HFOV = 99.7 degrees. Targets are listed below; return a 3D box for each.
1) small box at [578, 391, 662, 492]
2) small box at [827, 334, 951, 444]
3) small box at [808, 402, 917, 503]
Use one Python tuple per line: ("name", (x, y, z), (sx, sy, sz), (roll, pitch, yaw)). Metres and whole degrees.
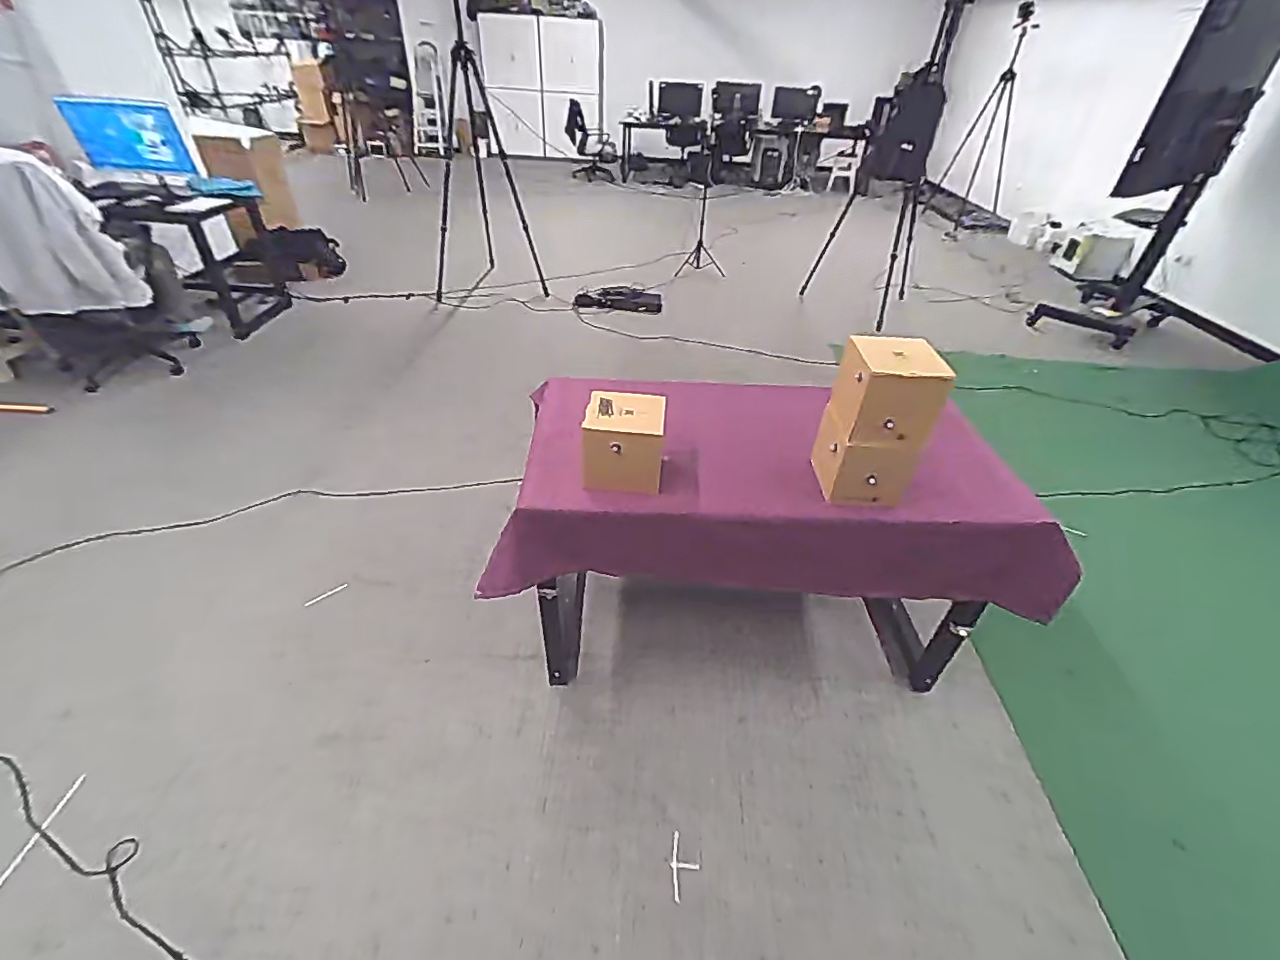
("small box", (-0.043, -0.088, 1.245), (0.179, 0.176, 0.168), (5, 38, 1))
("small box", (0.515, -0.194, 1.152), (0.168, 0.176, 0.179), (3, 40, 0))
("small box", (0.503, -0.062, 1.248), (0.168, 0.176, 0.179), (3, 38, -1))
